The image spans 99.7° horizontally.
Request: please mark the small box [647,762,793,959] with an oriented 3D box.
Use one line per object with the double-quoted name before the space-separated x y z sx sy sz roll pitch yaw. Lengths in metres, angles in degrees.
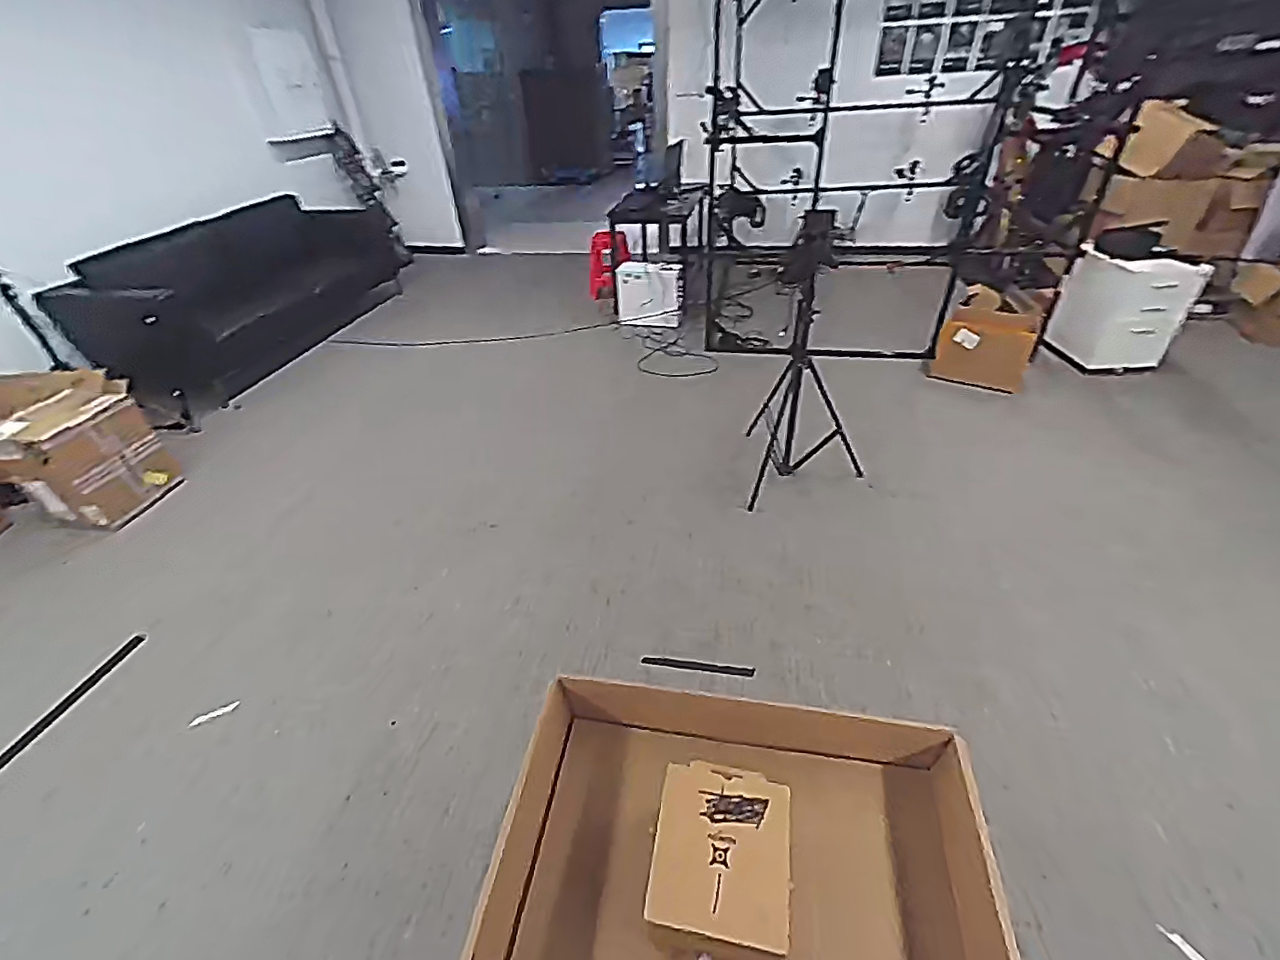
"small box" 0.107 0.510 0.717 0.168 0.176 0.179 5 44 11
